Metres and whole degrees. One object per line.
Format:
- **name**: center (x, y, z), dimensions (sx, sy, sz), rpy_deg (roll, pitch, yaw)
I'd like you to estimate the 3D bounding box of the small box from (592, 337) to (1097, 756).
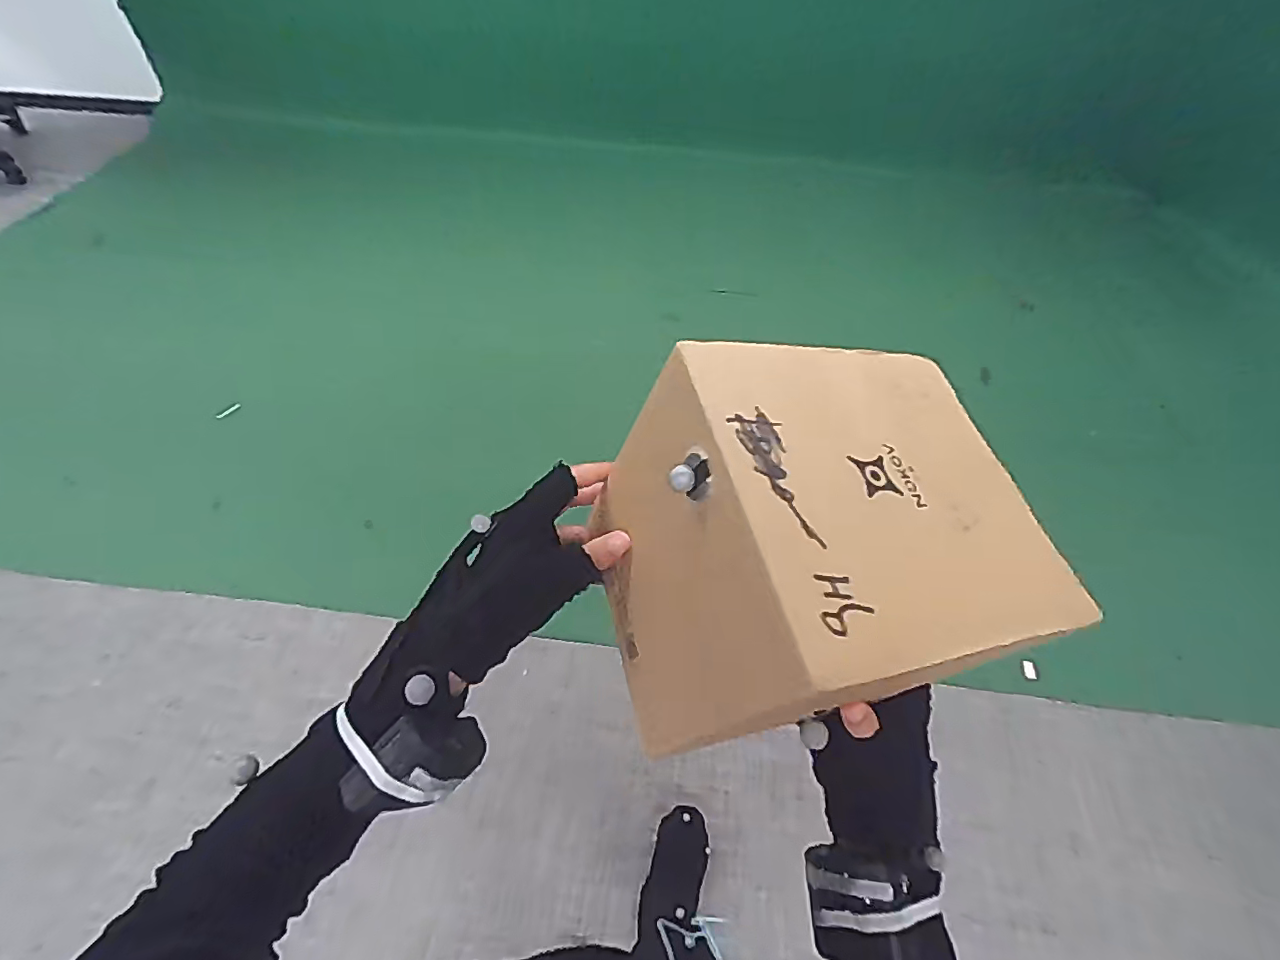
- **small box**: center (0.091, 0.044, 0.315), dimensions (0.179, 0.176, 0.168), rpy_deg (-1, 57, -26)
